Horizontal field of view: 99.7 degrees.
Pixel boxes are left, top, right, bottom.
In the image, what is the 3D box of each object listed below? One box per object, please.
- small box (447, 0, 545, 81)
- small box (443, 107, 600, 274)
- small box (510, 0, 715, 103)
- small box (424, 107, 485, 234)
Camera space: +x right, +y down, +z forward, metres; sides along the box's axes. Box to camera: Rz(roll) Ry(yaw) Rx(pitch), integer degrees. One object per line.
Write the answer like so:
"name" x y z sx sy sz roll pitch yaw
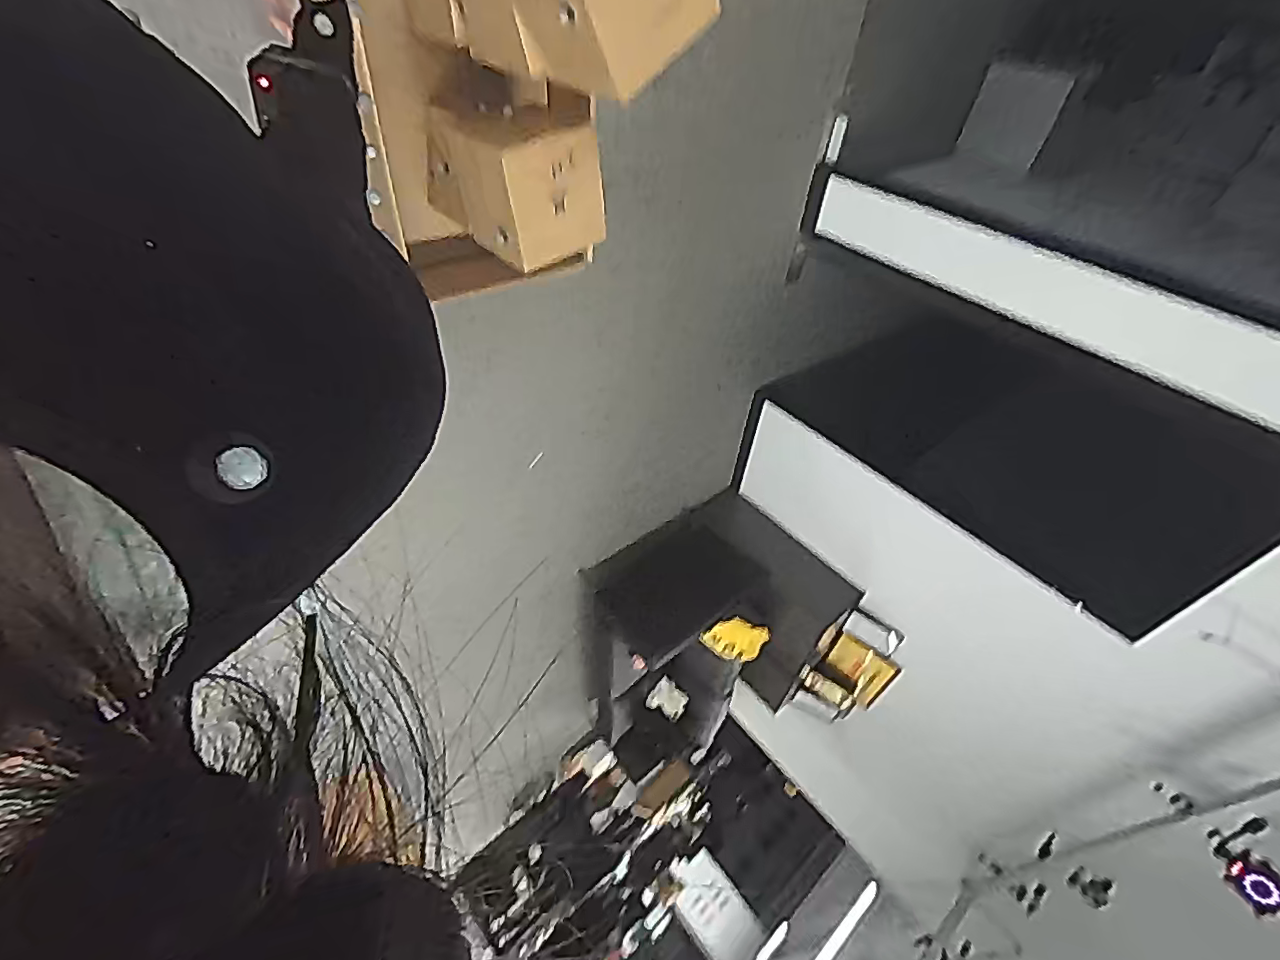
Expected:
"small box" -0.144 -0.656 0.698 0.179 0.176 0.168 -38 147 -17
"small box" -0.184 -0.464 0.861 0.168 0.176 0.179 -34 145 -25
"small box" -0.046 -0.569 0.600 0.168 0.176 0.179 -45 149 -5
"small box" -0.275 -0.551 0.973 0.179 0.176 0.168 -19 138 -39
